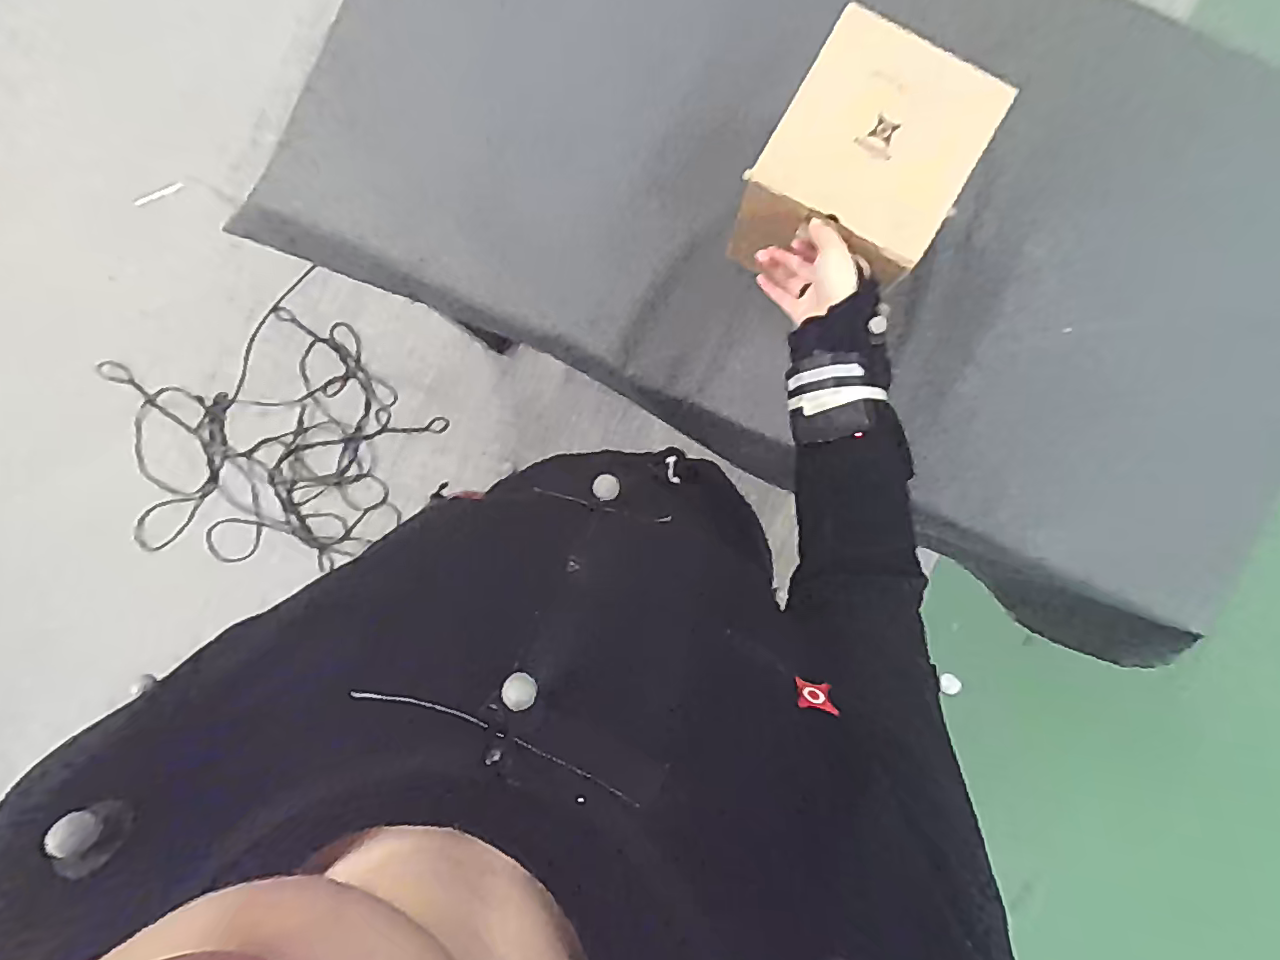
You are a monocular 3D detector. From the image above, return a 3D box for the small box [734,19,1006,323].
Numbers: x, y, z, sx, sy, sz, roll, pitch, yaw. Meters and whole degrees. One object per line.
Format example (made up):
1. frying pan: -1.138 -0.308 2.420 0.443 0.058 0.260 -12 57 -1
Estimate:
1. small box: 0.210 -0.289 0.551 0.168 0.176 0.179 30 89 1
